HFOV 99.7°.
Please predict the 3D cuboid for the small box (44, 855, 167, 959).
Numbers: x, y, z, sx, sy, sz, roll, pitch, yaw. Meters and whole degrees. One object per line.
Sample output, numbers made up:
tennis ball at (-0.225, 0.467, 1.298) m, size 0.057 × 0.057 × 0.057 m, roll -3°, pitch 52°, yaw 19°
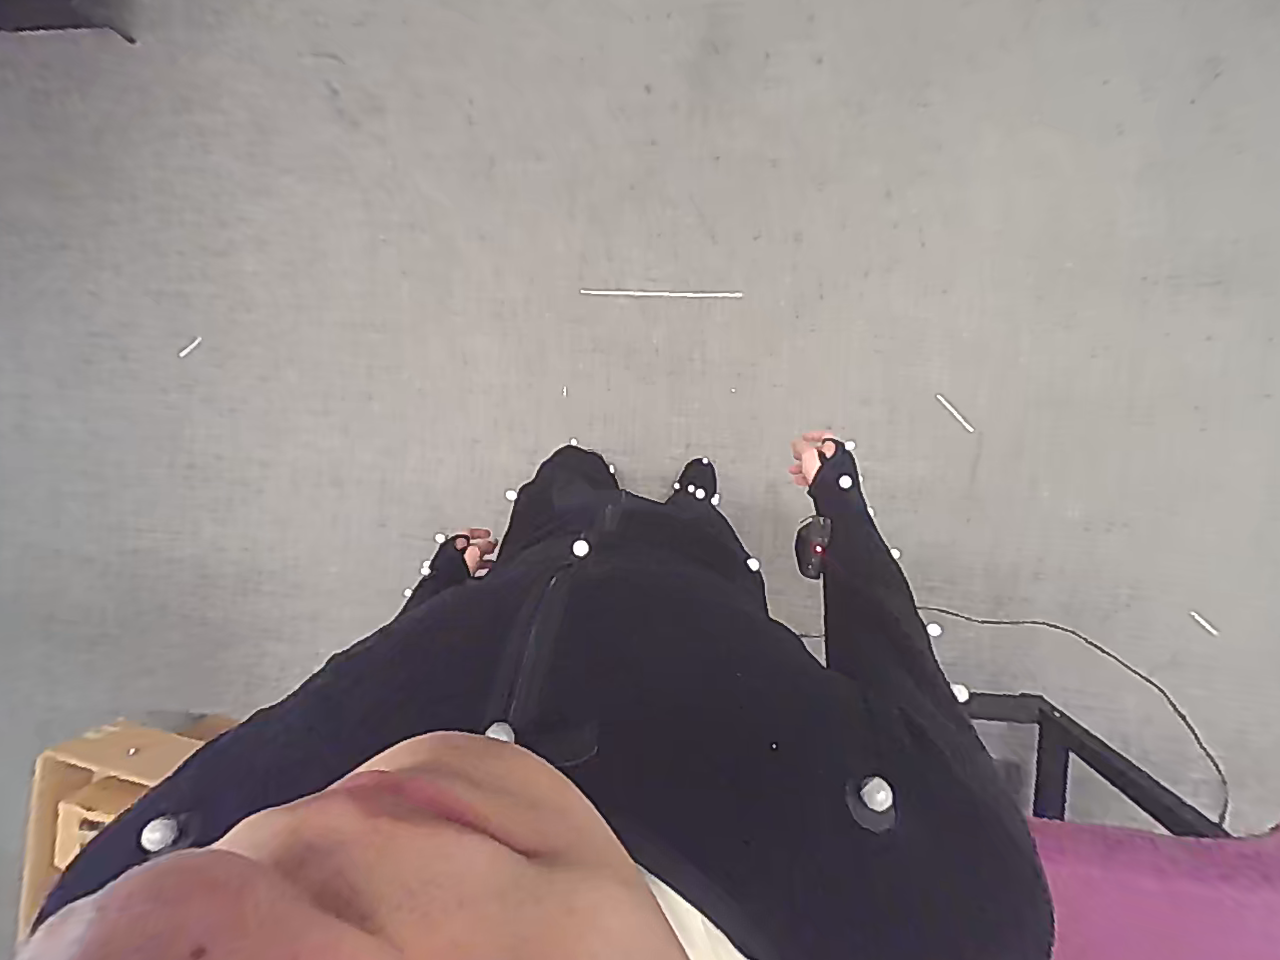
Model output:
small box at (-1.419, 1.160, 1.444) m, size 0.168 × 0.176 × 0.179 m, roll 11°, pitch 95°, yaw 7°
